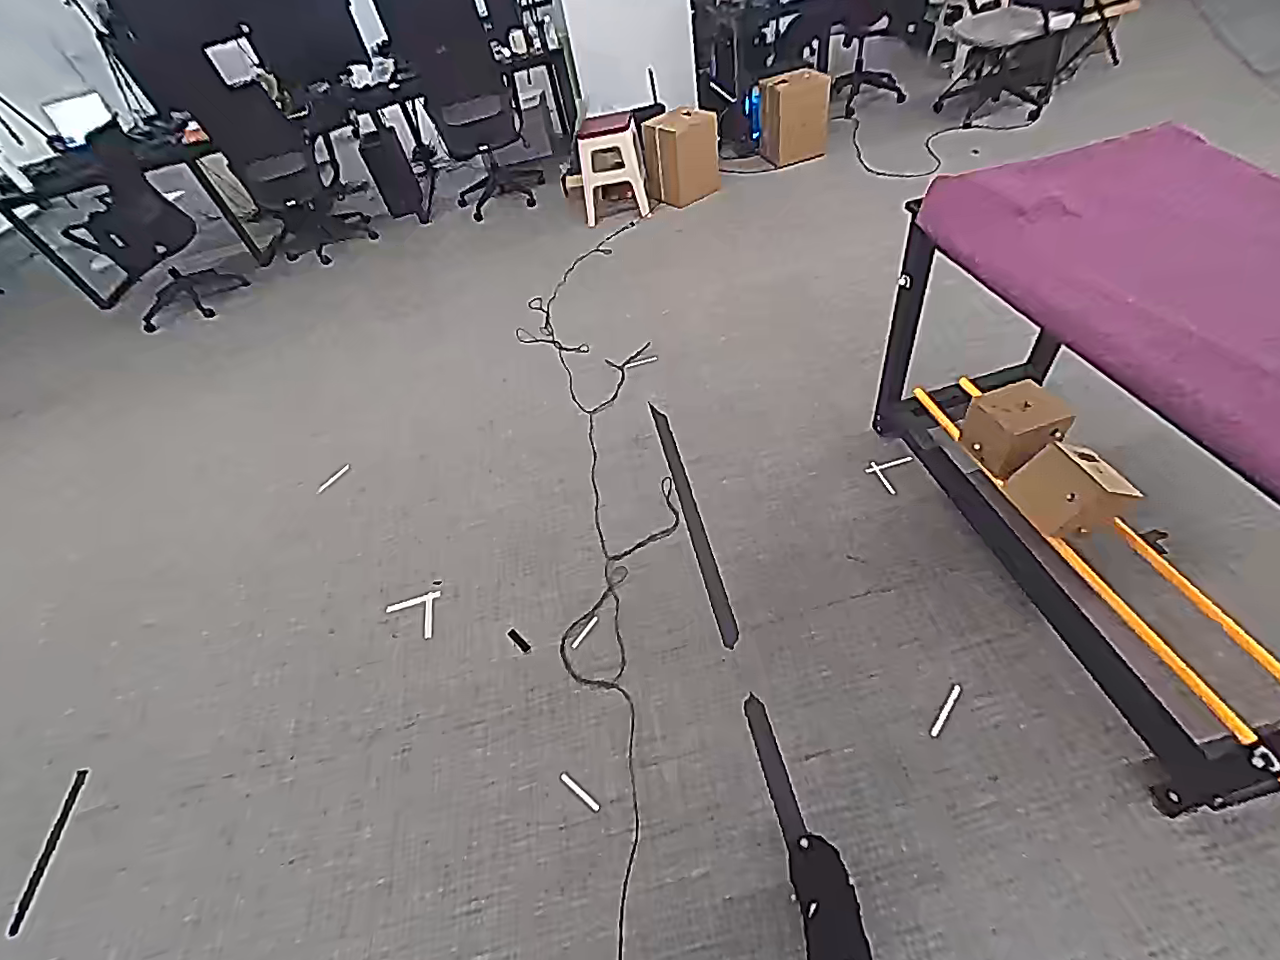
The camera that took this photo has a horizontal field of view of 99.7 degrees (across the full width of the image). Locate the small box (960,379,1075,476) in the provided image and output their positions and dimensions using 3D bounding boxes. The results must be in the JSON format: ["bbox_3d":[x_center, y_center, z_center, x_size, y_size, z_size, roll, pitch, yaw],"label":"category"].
[{"bbox_3d":[1.016,-0.141,1.475,0.179,0.176,0.168,-19,47,-1],"label":"small box"}]
